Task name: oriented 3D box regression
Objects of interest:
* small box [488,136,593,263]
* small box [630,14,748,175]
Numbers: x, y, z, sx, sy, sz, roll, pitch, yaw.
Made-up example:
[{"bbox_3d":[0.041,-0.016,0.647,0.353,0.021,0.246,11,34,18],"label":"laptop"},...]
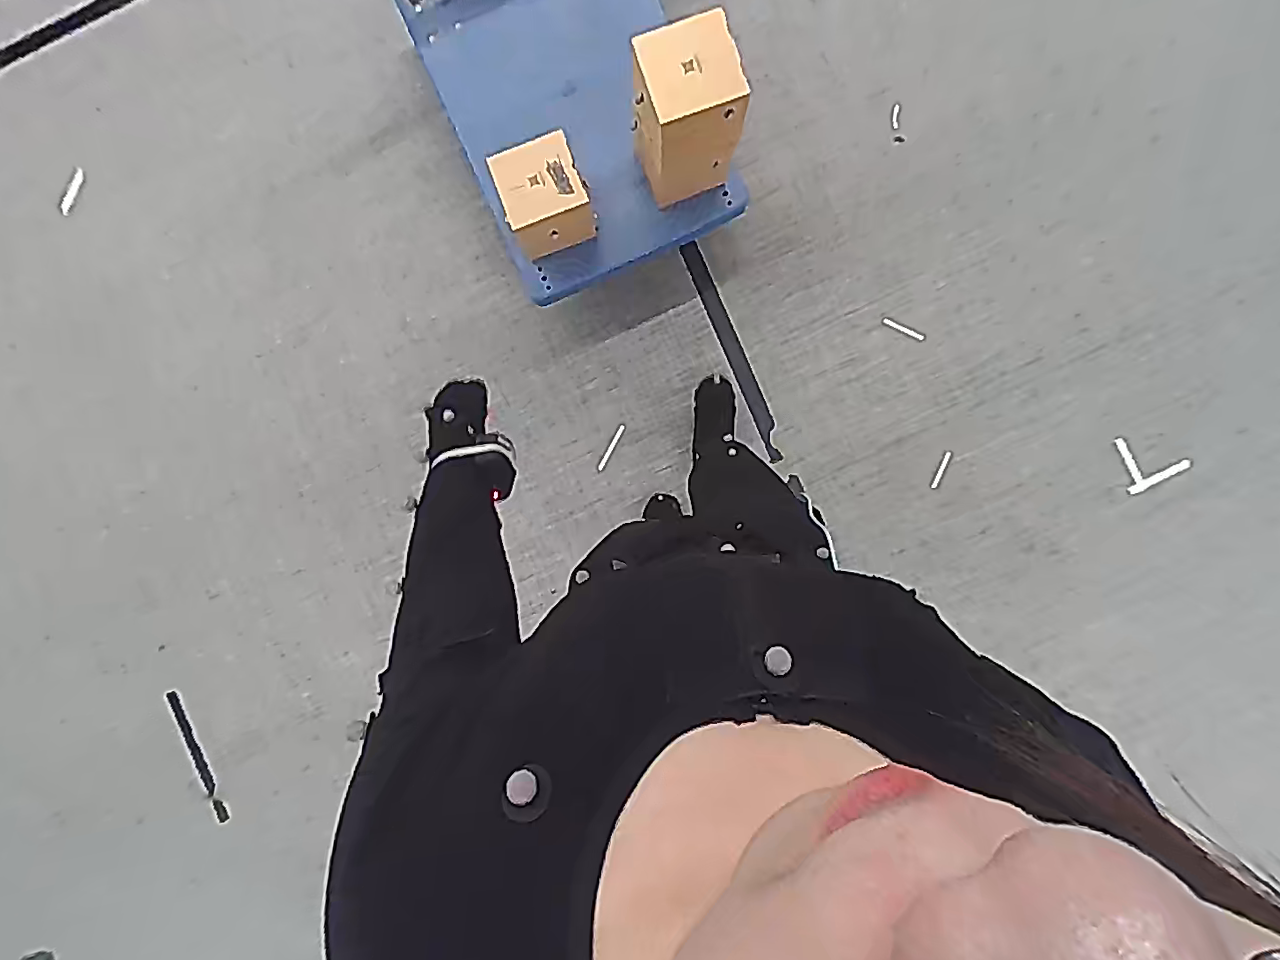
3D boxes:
[{"bbox_3d":[-0.213,-0.623,1.221,0.179,0.176,0.168,-20,90,2],"label":"small box"},{"bbox_3d":[0.090,-0.732,1.051,0.179,0.176,0.168,-19,90,0],"label":"small box"}]
